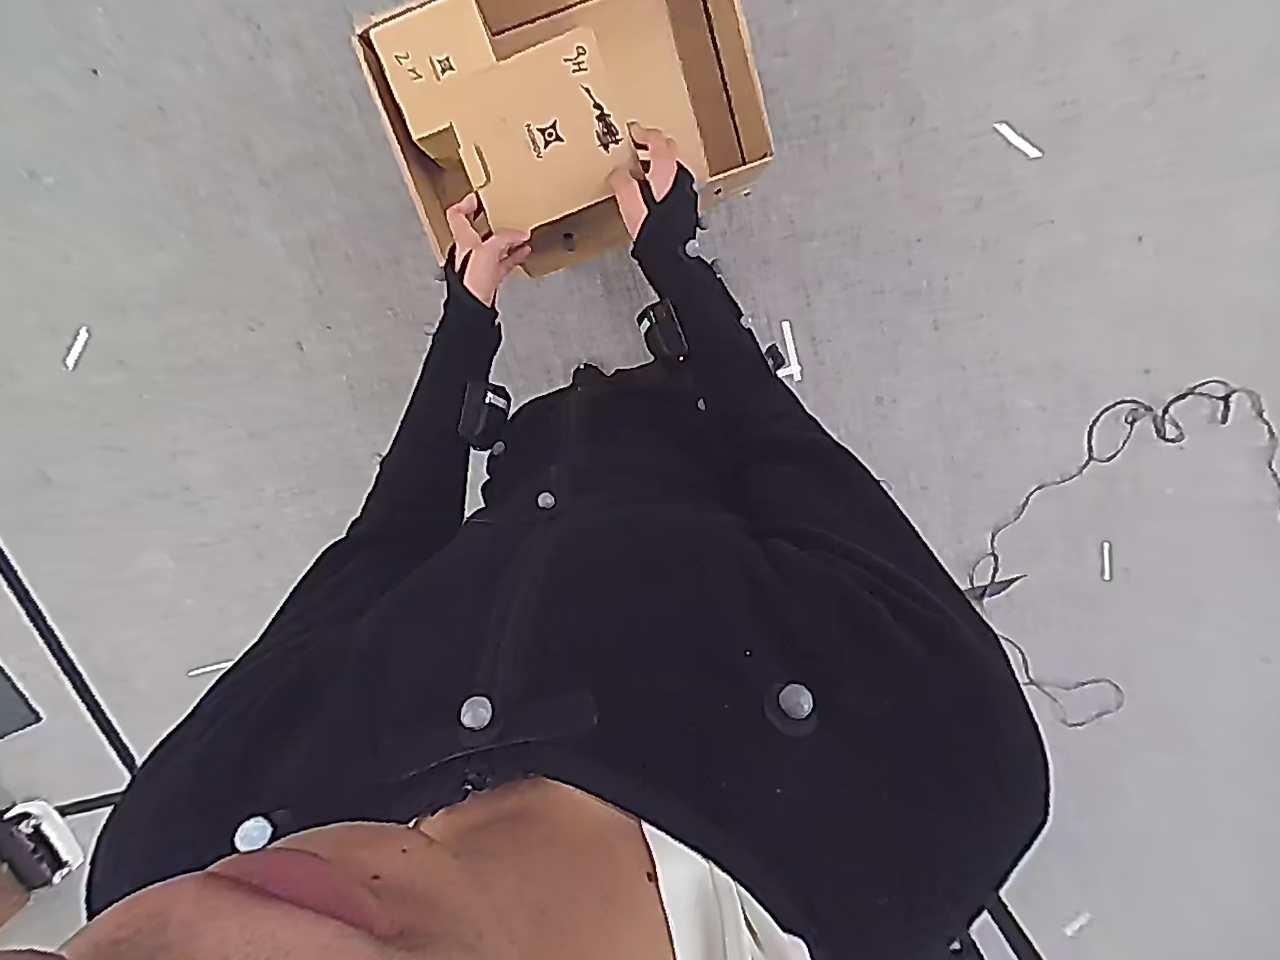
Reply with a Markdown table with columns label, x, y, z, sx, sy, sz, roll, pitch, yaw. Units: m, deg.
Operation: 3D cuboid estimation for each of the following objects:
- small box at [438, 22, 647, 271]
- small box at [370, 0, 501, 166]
| label | x | y | z | sx | sy | sz | roll | pitch | yaw |
| --- | --- | --- | --- | --- | --- | --- | --- | --- | --- |
| small box | -0.100 | -0.370 | 0.640 | 0.179 | 0.176 | 0.168 | -20 | 97 | 5 |
| small box | -0.315 | -0.675 | 0.929 | 0.179 | 0.176 | 0.168 | -19 | 104 | 4 |
